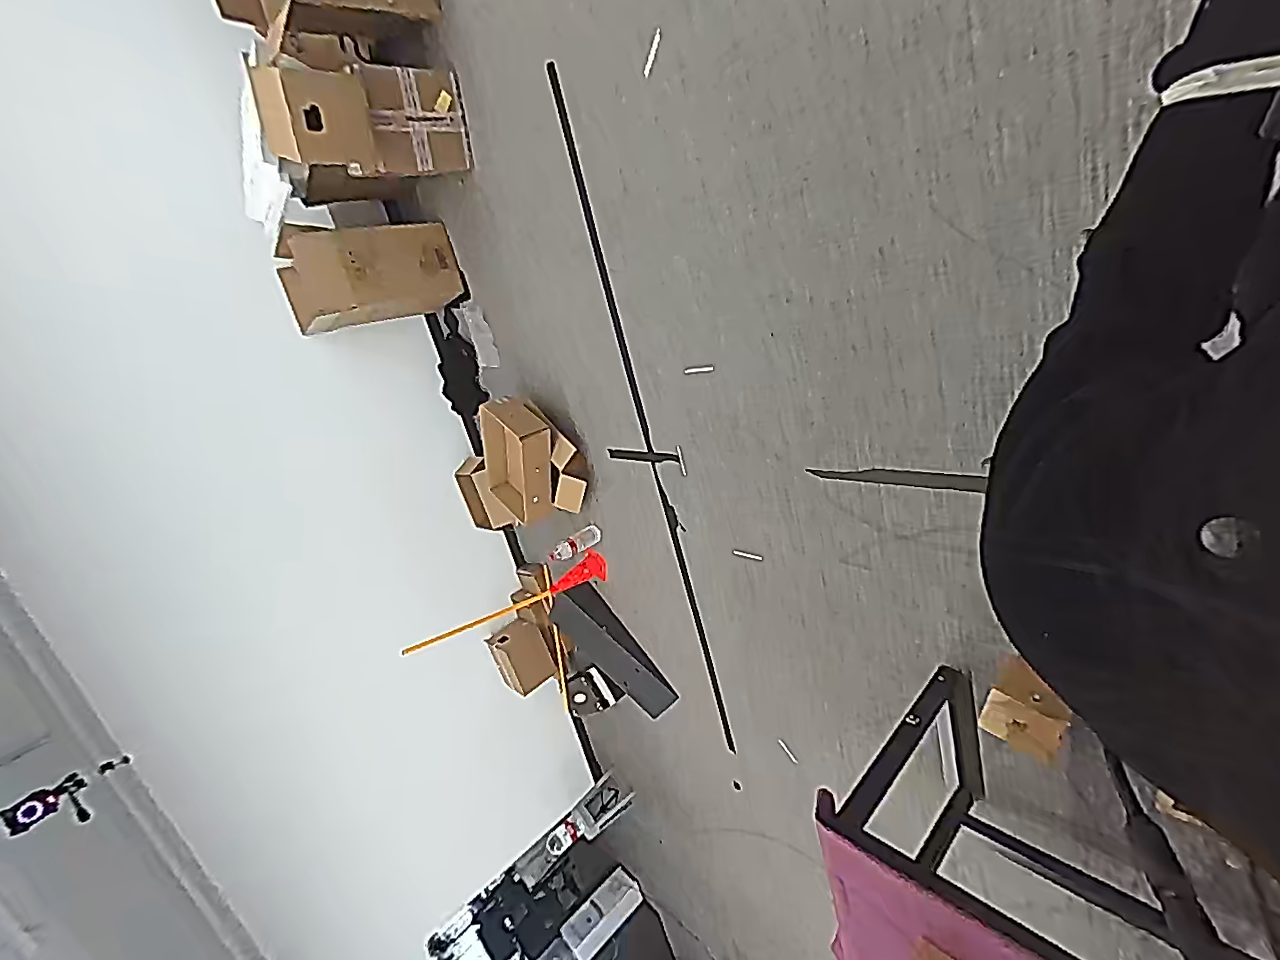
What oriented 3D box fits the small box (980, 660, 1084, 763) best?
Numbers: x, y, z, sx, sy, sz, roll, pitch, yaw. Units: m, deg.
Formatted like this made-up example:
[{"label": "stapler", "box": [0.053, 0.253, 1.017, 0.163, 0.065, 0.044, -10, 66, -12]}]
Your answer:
[{"label": "small box", "box": [1.098, 0.637, 1.516, 0.179, 0.176, 0.168, 26, 131, 40]}]
